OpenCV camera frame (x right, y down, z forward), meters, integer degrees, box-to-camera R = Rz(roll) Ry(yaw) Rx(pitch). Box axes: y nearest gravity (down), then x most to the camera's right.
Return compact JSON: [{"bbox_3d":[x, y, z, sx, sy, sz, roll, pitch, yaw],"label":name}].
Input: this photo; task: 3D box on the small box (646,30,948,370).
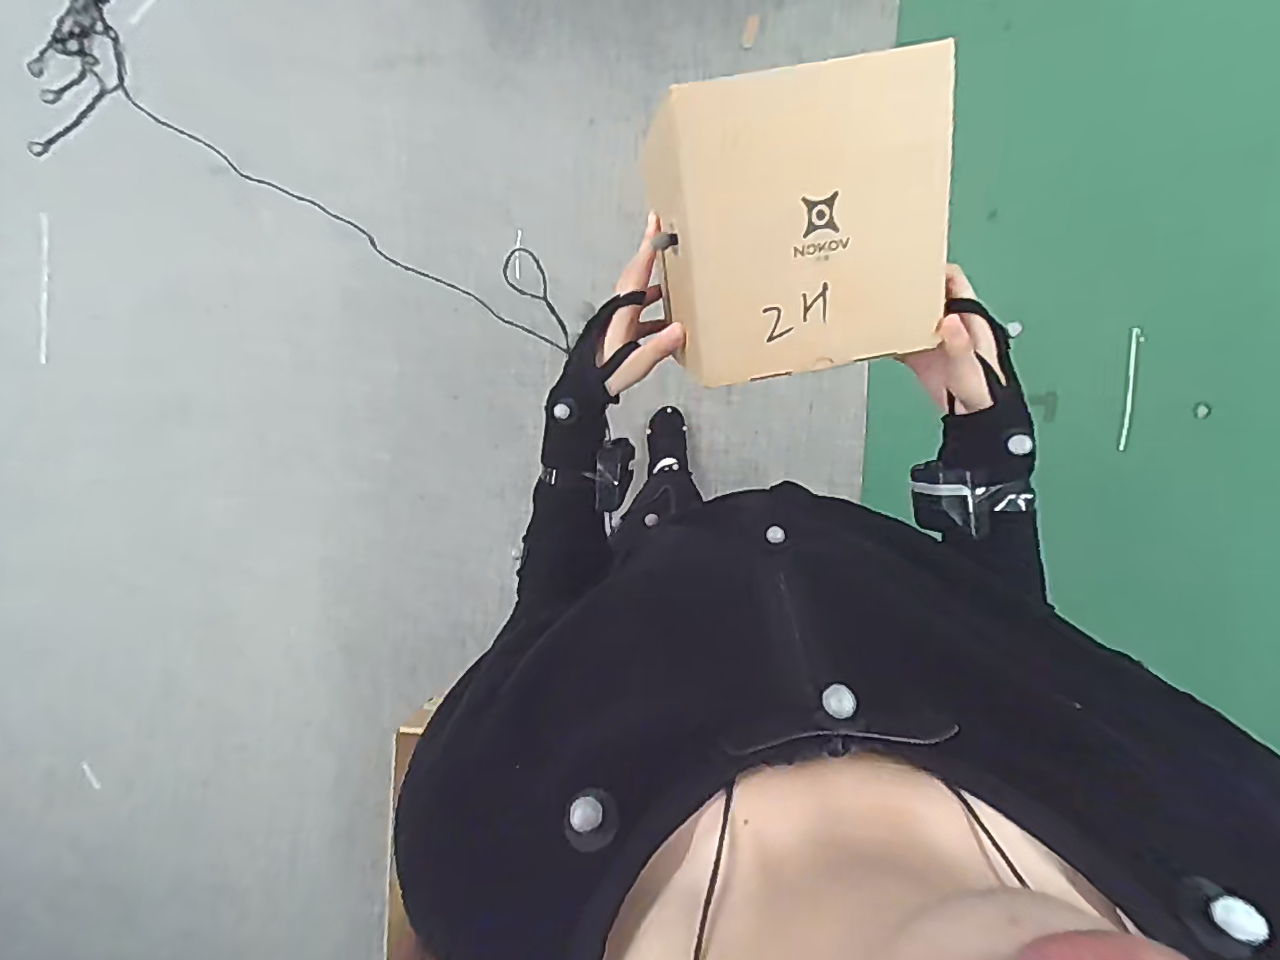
[{"bbox_3d":[0.100,-0.192,0.410,0.168,0.176,0.179,-9,111,-1],"label":"small box"}]
